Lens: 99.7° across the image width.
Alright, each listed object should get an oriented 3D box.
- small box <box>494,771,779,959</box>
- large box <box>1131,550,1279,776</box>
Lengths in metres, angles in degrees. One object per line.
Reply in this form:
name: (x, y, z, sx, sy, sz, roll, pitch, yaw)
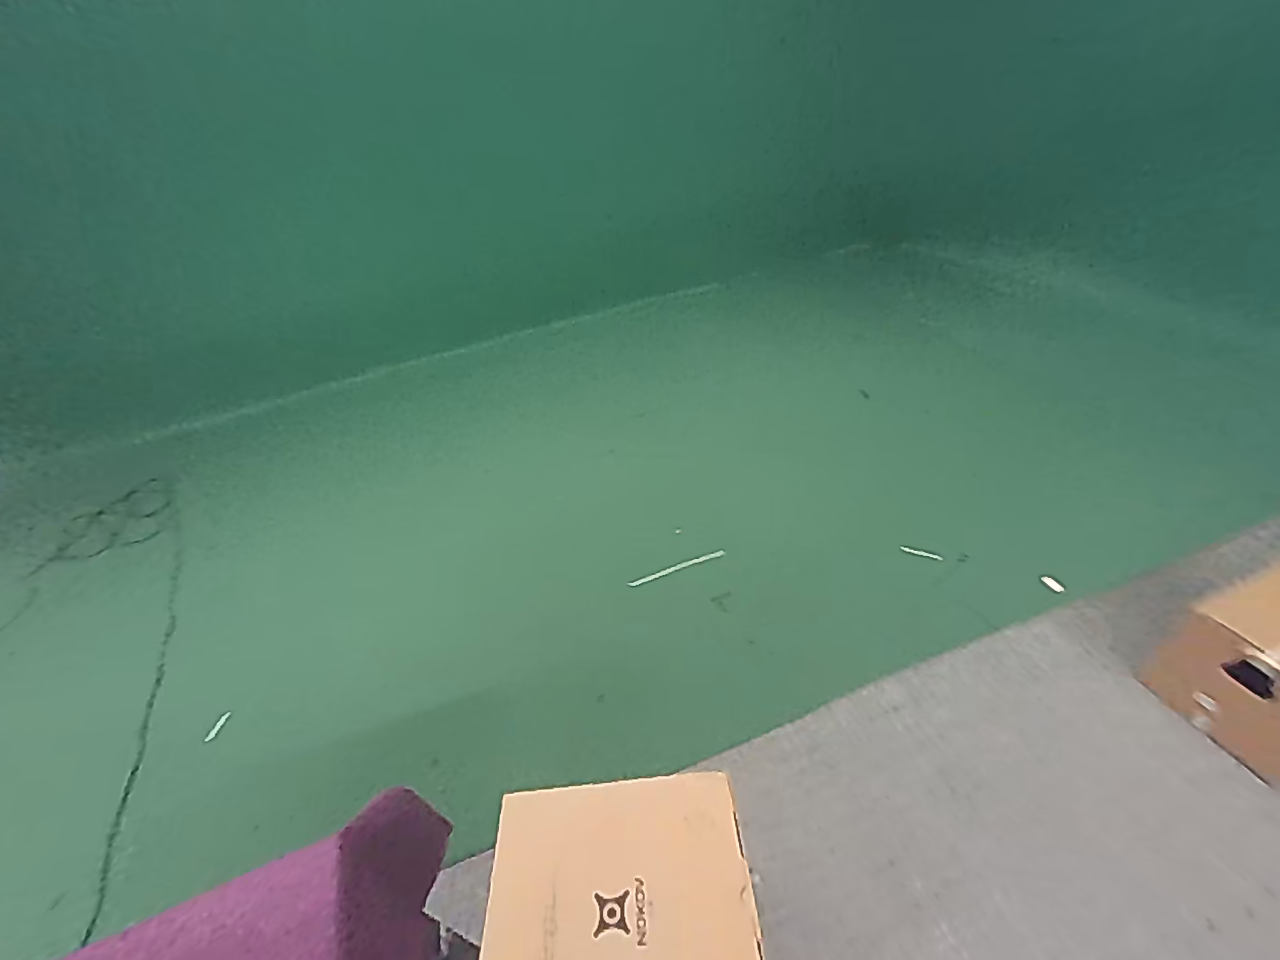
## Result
small box: (0.003, 0.341, 0.394, 0.179, 0.176, 0.168, -7, 35, 2)
large box: (1.533, 0.422, 1.295, 0.408, 0.320, 0.320, -19, 40, -11)
